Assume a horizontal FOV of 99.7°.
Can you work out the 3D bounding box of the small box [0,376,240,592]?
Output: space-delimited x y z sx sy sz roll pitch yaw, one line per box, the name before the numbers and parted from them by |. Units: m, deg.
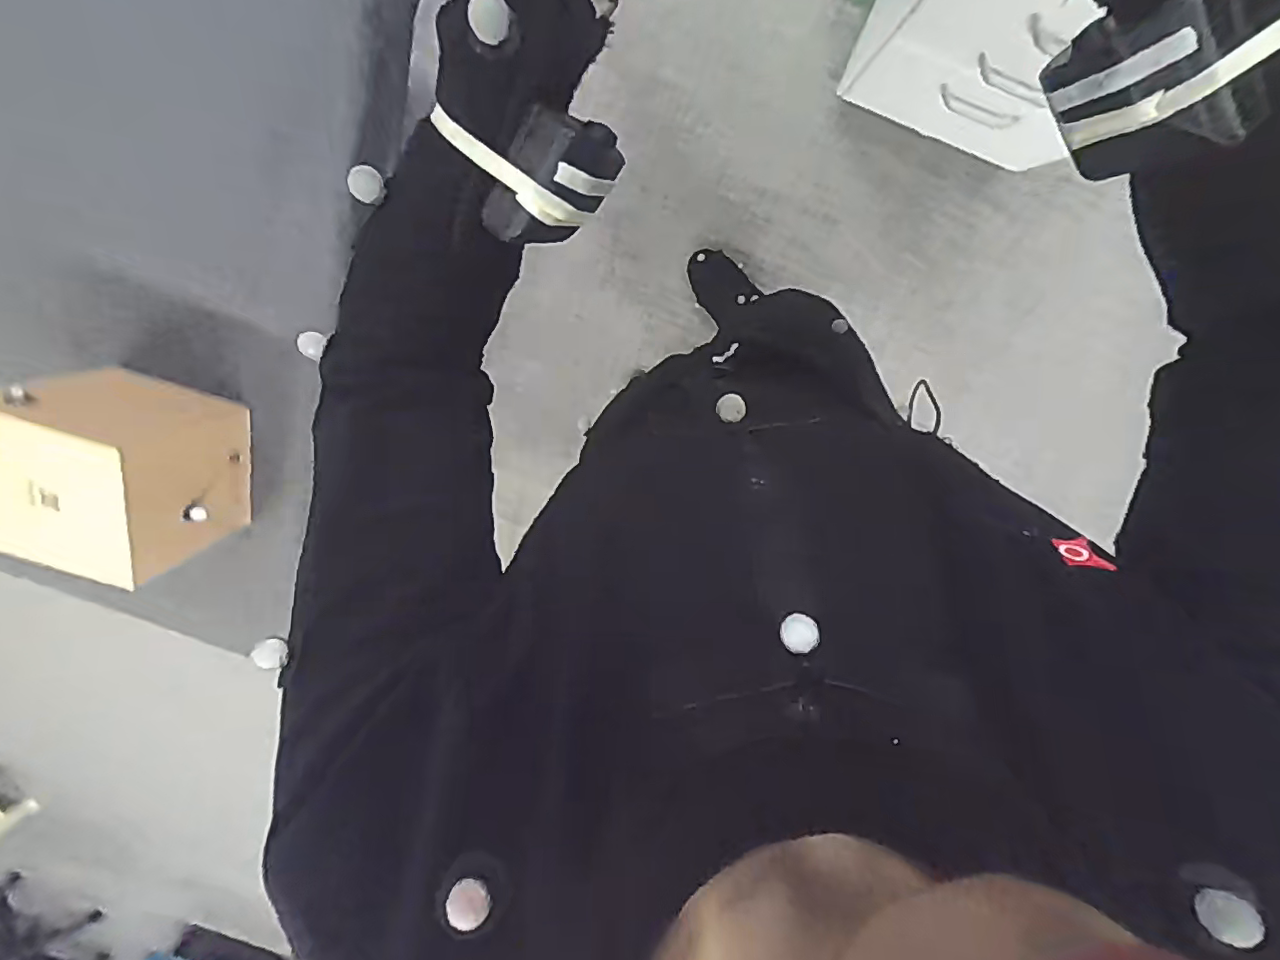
small box | -0.587 -0.007 0.604 0.179 0.176 0.168 16 112 0
